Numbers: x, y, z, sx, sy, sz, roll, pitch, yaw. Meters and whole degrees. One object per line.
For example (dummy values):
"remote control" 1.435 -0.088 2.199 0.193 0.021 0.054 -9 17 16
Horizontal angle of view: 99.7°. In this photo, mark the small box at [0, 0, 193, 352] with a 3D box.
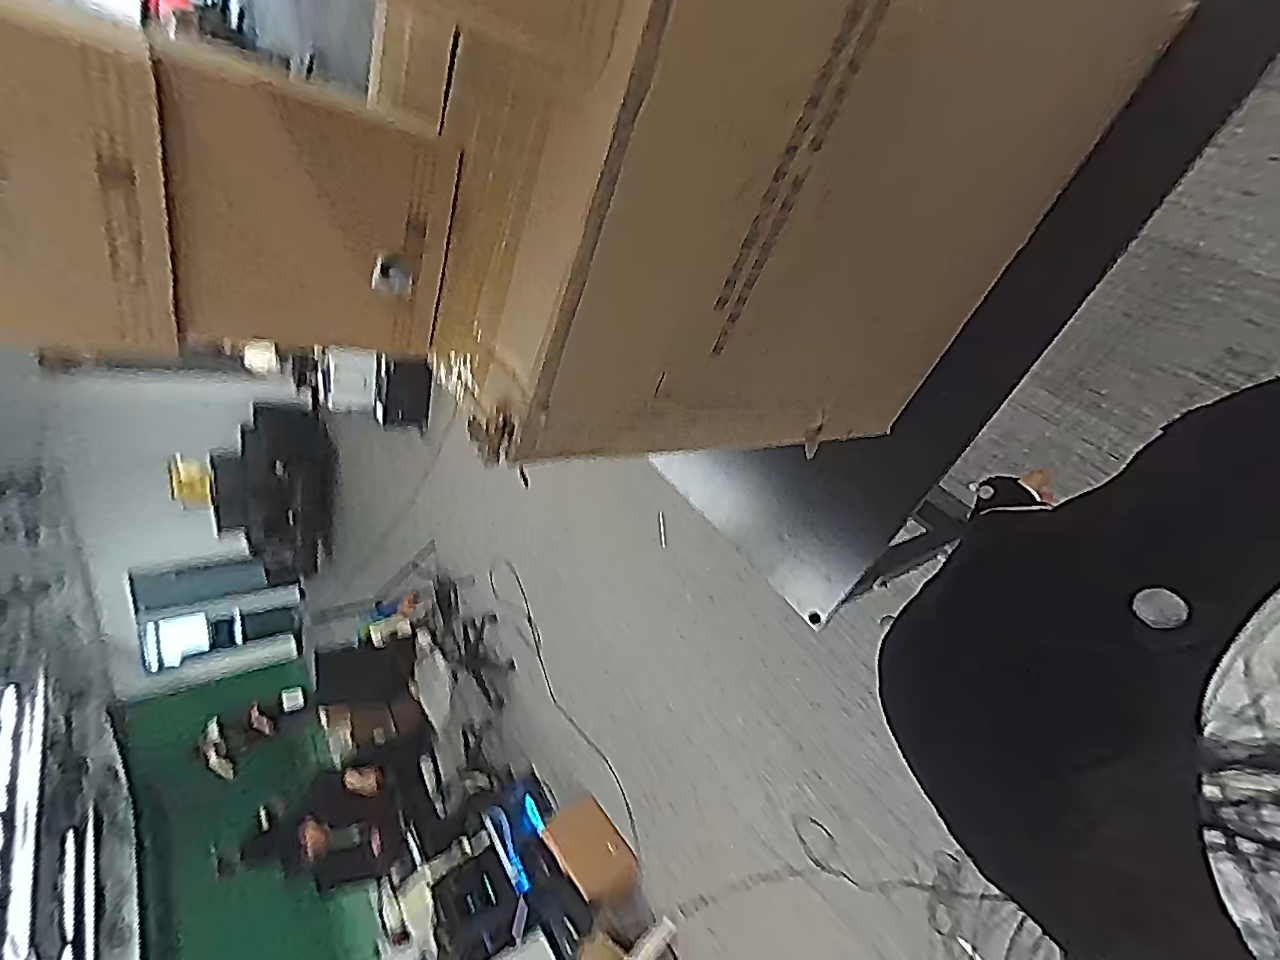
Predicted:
"small box" -0.375 -0.184 0.315 0.179 0.176 0.168 45 127 36

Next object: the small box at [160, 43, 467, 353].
"small box" -0.259 -0.209 0.429 0.179 0.176 0.168 43 126 37
